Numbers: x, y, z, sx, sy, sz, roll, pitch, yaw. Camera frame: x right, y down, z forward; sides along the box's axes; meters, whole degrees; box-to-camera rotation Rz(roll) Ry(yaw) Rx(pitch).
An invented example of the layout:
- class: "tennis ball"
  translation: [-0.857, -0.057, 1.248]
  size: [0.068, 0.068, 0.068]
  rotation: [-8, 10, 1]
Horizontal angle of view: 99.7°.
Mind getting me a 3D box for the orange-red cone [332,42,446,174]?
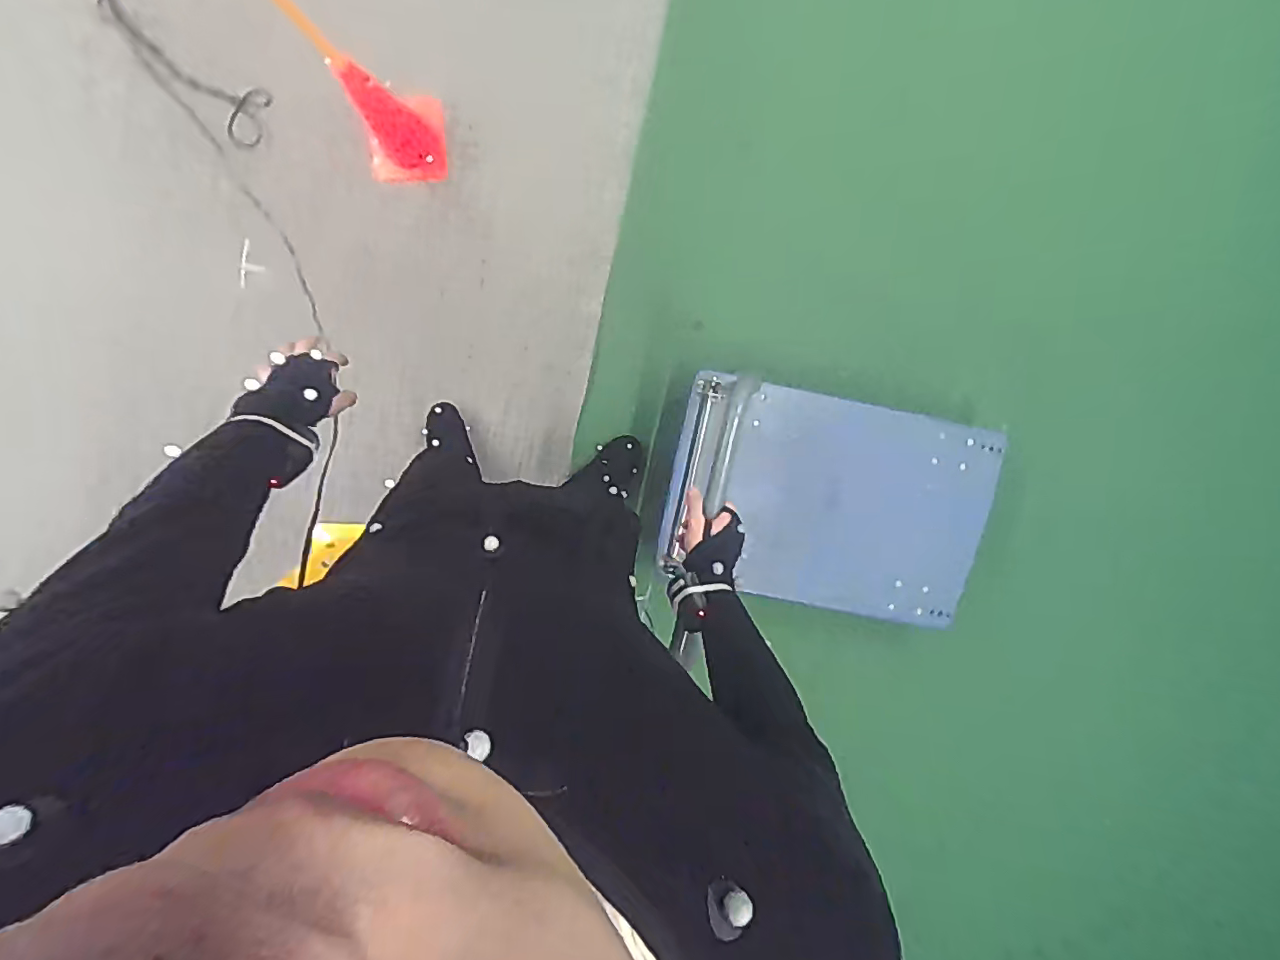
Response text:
- class: "orange-red cone"
  translation: [-0.610, -0.893, 1.261]
  size: [0.198, 0.360, 0.199]
  rotation: [-2, 98, -2]
